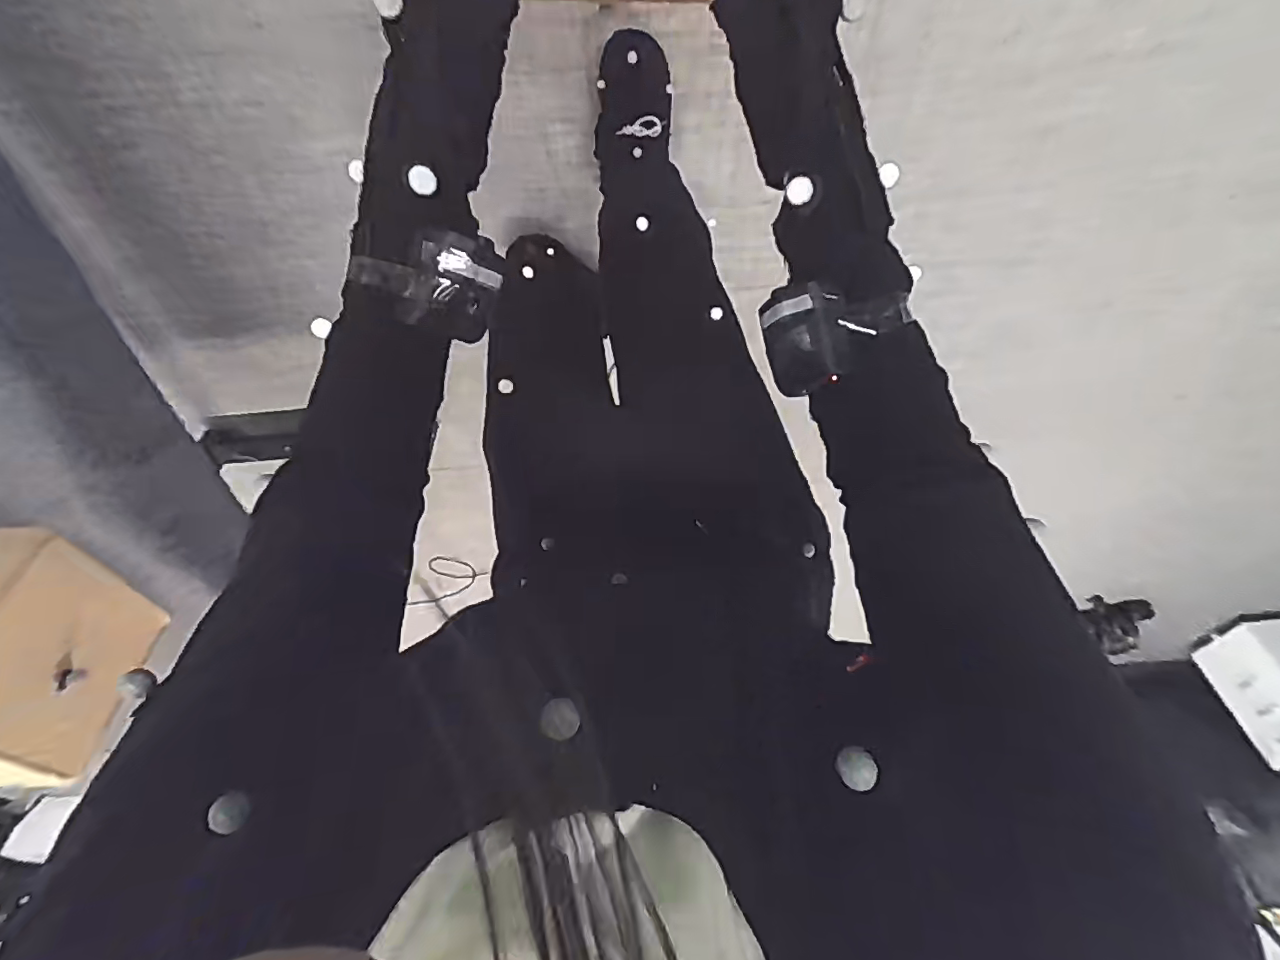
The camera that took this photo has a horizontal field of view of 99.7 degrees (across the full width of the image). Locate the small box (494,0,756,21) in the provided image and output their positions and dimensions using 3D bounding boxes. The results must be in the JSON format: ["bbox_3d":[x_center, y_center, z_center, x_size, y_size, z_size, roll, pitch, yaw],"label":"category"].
[{"bbox_3d":[-0.013,-0.396,0.325,0.168,0.176,0.179,0,130,-3],"label":"small box"}]

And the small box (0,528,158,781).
[{"bbox_3d":[-0.600,0.158,0.482,0.168,0.176,0.179,-1,139,-2],"label":"small box"}]
